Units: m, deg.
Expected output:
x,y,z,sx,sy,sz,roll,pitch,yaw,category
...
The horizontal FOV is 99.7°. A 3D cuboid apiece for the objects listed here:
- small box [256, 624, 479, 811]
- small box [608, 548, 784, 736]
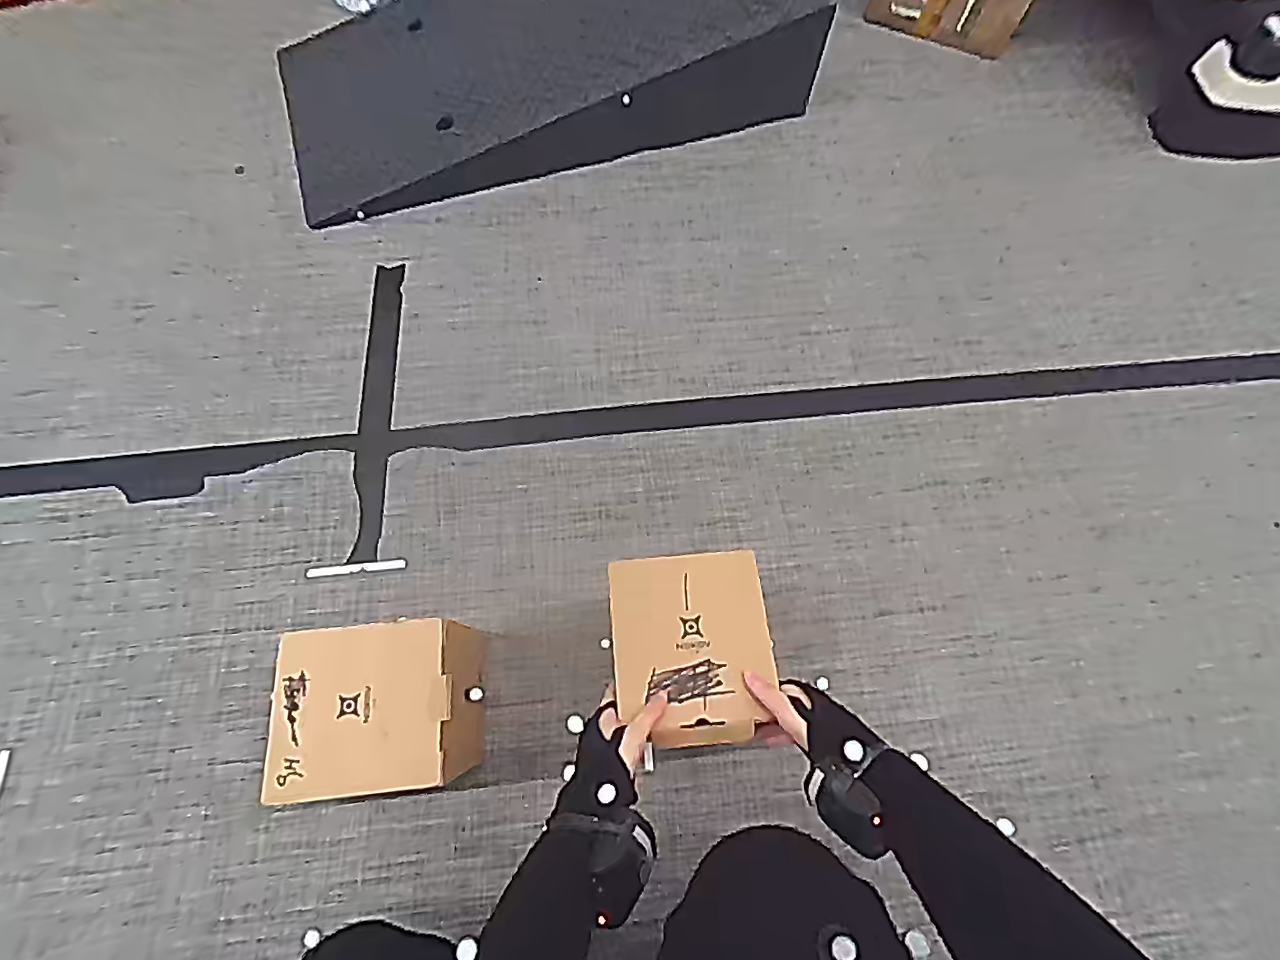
x,y,z,sx,sy,sz,roll,pitch,yaw,category
-0.289,0.259,0.619,0.179,0.176,0.168,-4,70,-4,small box
0.052,0.189,0.618,0.168,0.176,0.179,-3,65,-3,small box
